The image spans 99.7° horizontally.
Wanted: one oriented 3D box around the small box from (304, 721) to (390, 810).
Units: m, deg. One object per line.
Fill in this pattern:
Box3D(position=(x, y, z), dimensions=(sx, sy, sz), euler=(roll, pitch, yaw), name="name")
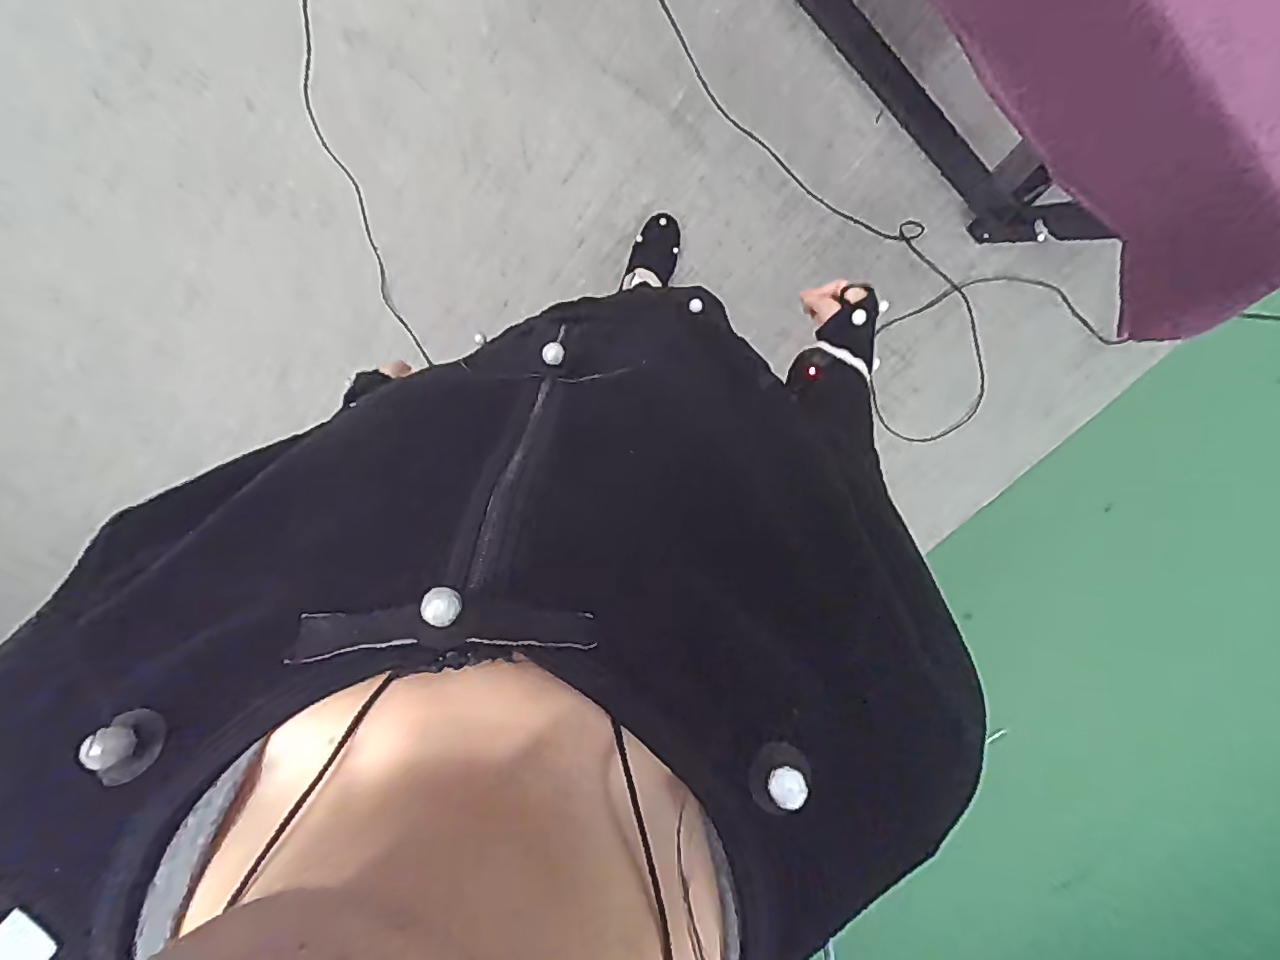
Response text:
Box3D(position=(-0.986, 0.966, 1.837), dimensions=(0.168, 0.176, 0.179), euler=(39, 107, -16), name="small box")
